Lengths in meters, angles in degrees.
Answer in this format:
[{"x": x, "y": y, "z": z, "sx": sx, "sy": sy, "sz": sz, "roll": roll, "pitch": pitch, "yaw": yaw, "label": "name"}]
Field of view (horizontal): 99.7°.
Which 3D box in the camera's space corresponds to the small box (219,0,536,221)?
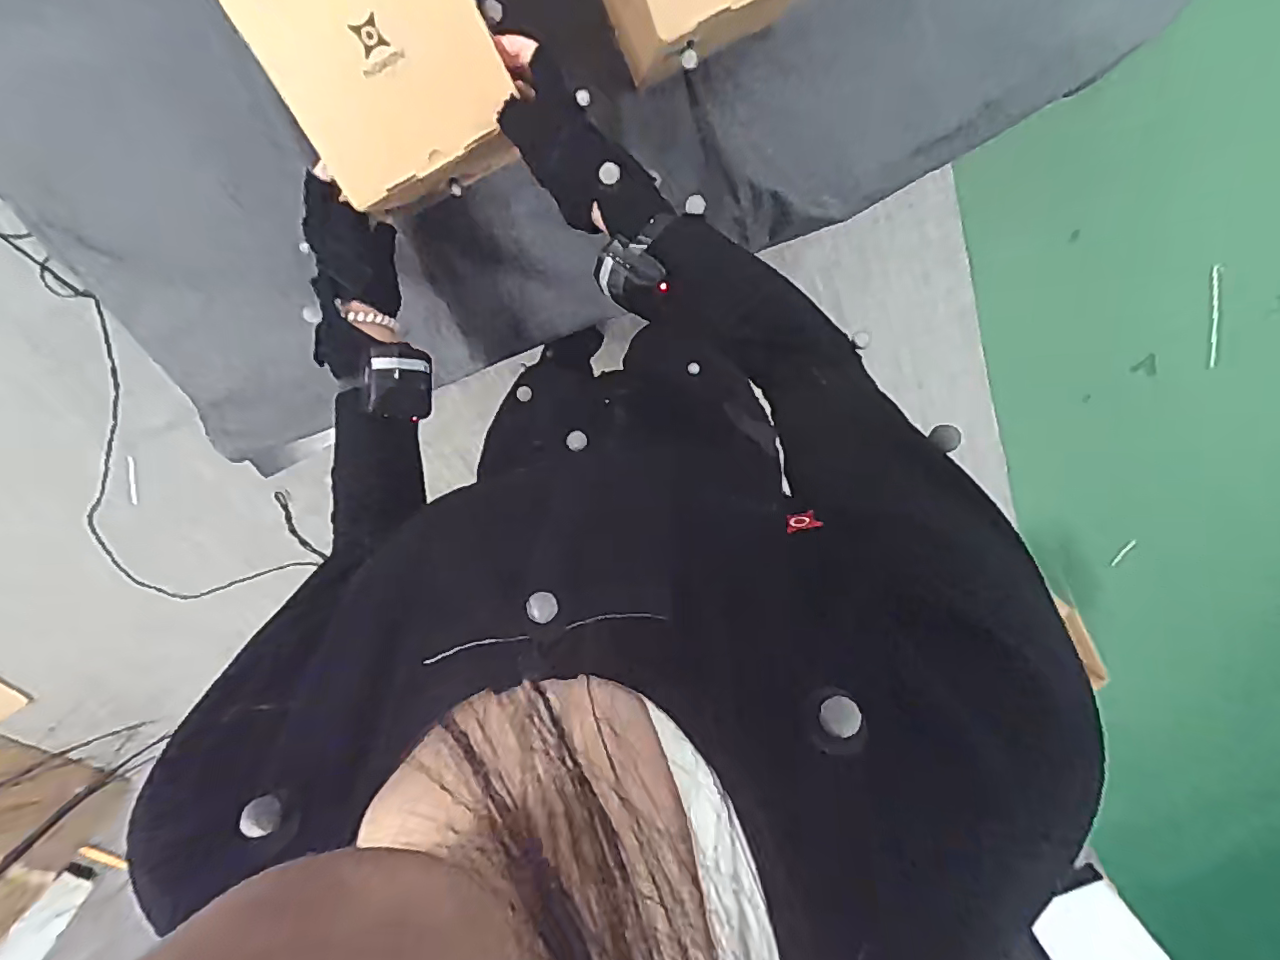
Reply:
[{"x": -0.208, "y": -0.353, "z": 0.485, "sx": 0.168, "sy": 0.176, "sz": 0.179, "roll": -26, "pitch": 116, "yaw": 5, "label": "small box"}]
